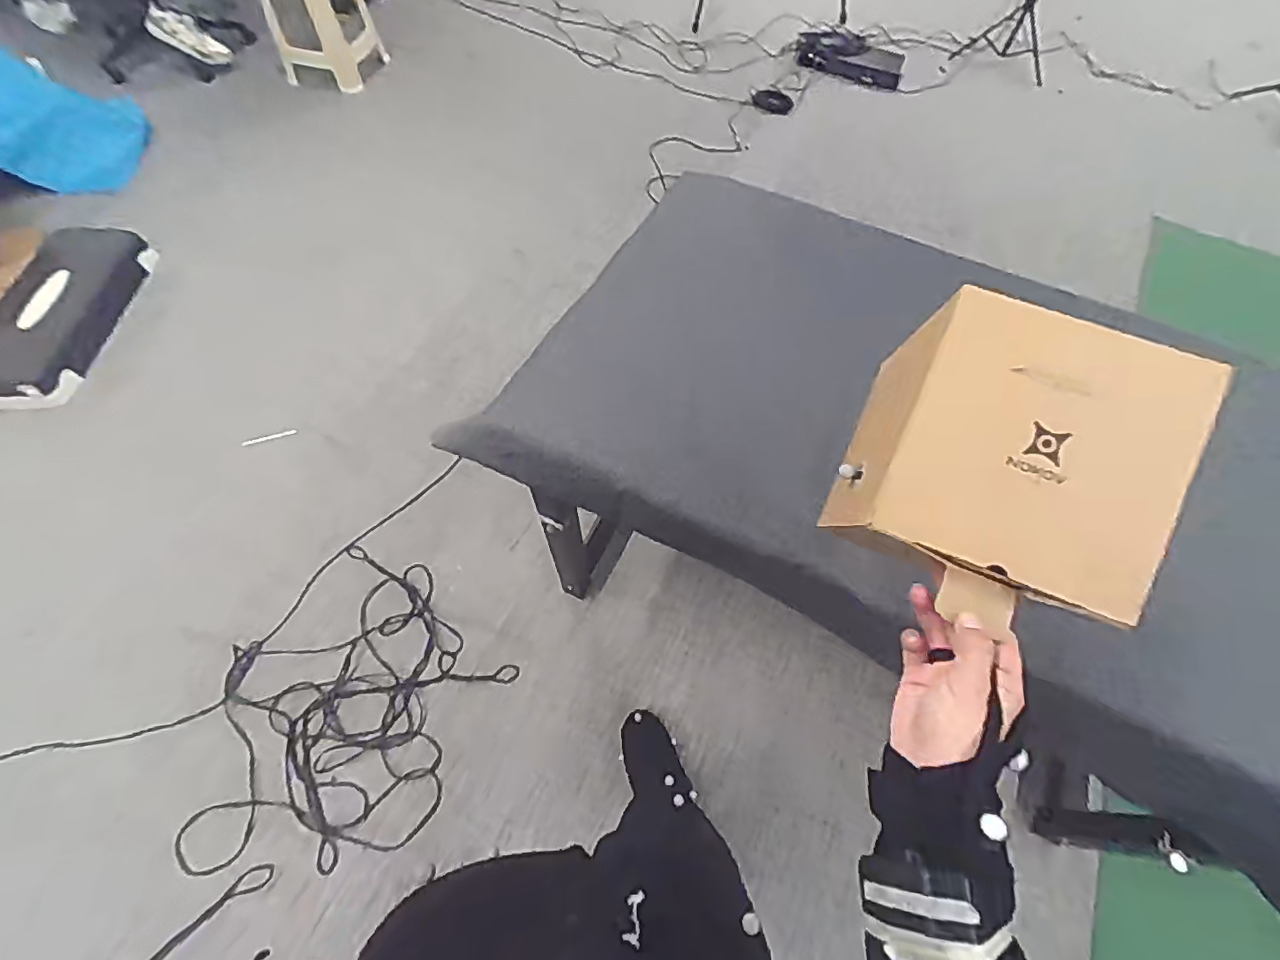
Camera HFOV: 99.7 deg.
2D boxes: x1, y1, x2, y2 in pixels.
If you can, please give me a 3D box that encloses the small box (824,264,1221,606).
[{"bbox_3d":[0.259,-0.024,0.417,0.168,0.176,0.179,22,86,7],"label":"small box"}]
